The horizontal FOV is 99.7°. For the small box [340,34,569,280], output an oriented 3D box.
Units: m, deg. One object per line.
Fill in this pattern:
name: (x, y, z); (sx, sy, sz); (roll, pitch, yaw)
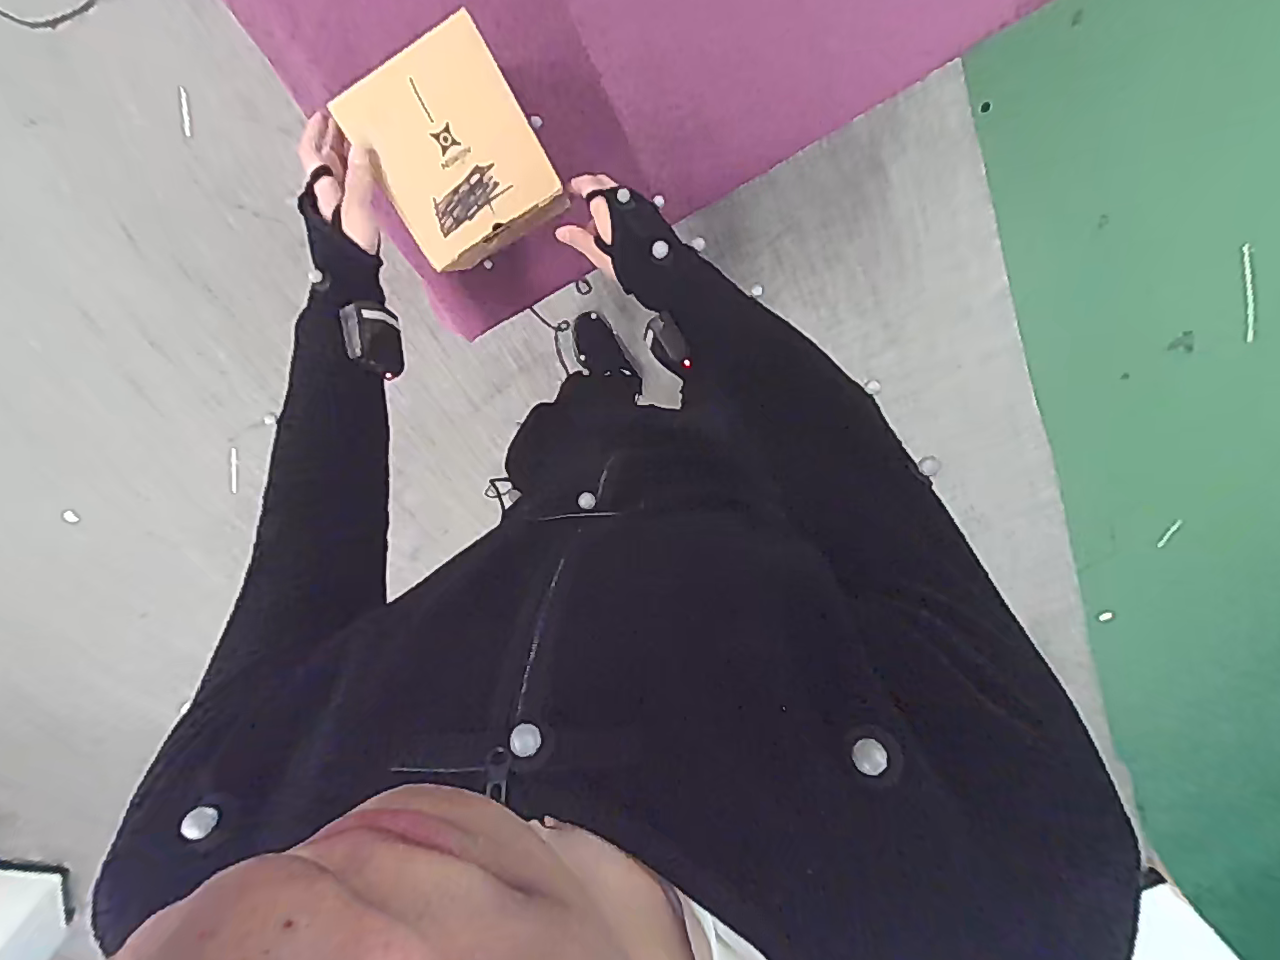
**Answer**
small box: (-0.198, -0.361, 0.640); (0.168, 0.176, 0.179); (-28, 110, 9)
